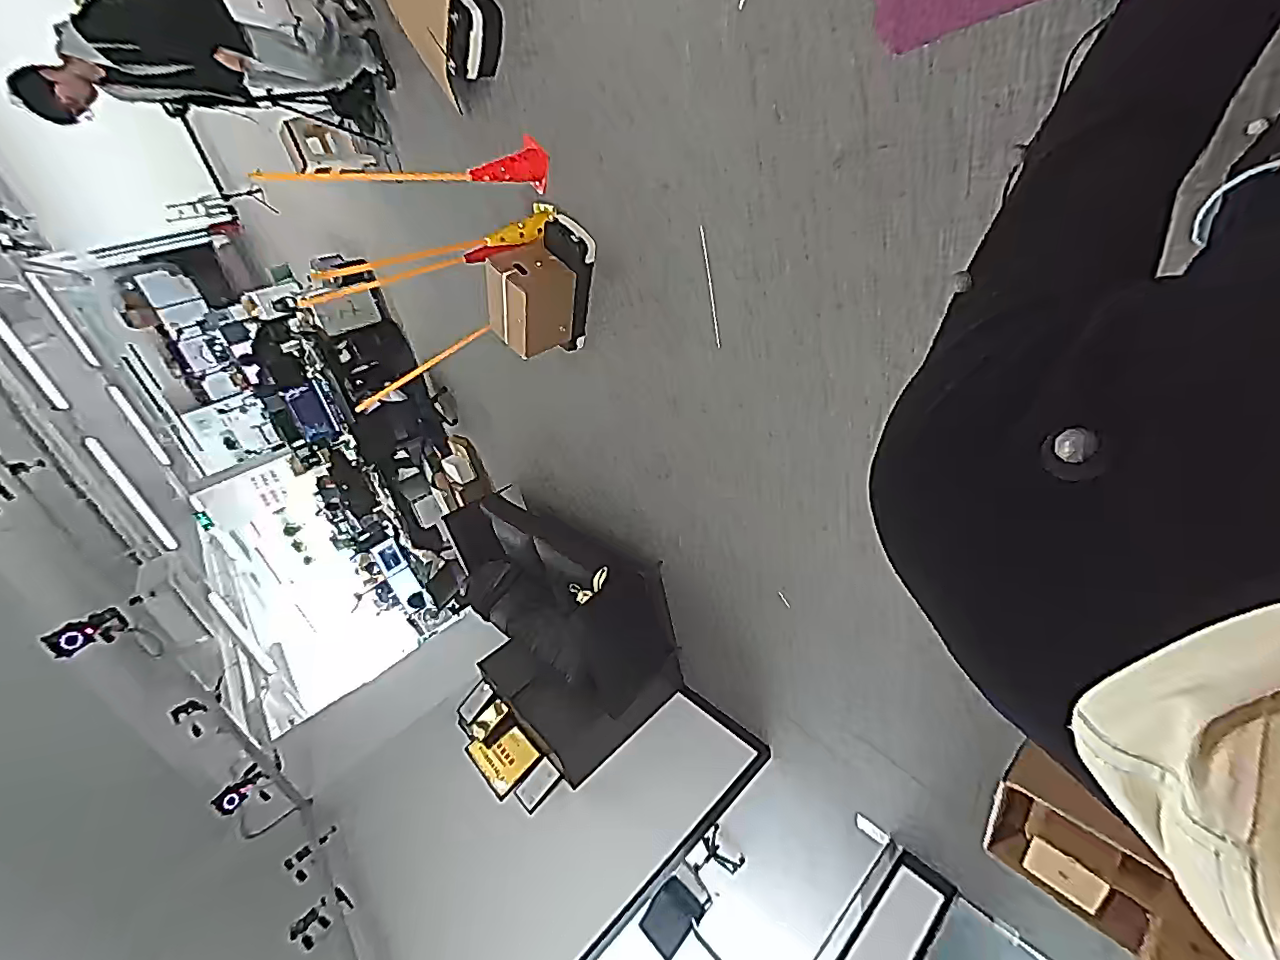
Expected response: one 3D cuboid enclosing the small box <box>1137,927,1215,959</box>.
[{"bbox_3d":[1.211,1.157,1.195,0.168,0.176,0.179,23,135,44],"label":"small box"}]
